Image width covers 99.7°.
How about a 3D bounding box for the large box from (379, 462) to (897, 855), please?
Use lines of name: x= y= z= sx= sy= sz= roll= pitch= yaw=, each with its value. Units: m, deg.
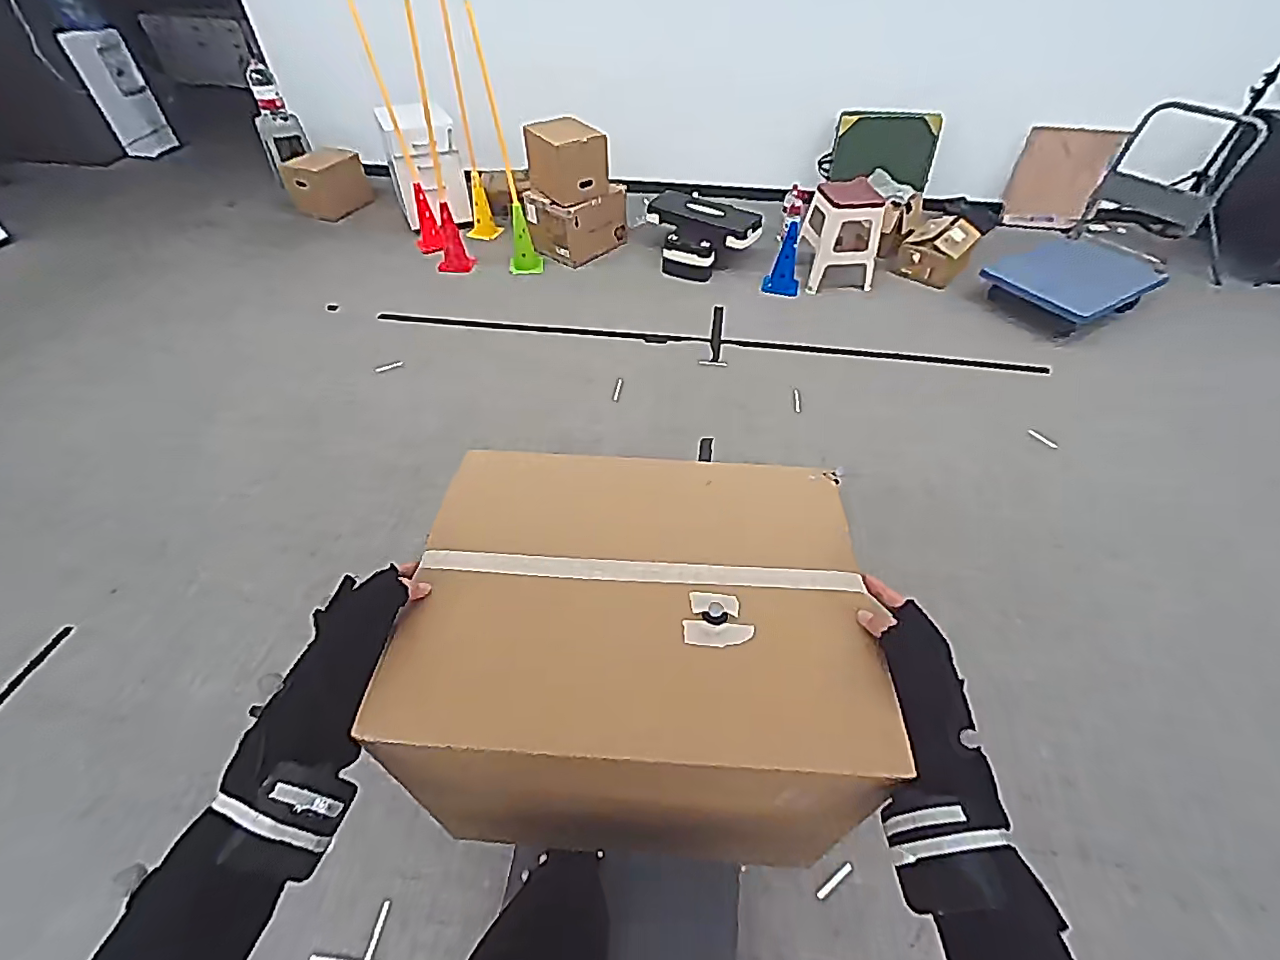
large box: x=0.000 y=0.200 z=0.615 sx=0.408 sy=0.320 sz=0.320 roll=3 pitch=45 yaw=2
